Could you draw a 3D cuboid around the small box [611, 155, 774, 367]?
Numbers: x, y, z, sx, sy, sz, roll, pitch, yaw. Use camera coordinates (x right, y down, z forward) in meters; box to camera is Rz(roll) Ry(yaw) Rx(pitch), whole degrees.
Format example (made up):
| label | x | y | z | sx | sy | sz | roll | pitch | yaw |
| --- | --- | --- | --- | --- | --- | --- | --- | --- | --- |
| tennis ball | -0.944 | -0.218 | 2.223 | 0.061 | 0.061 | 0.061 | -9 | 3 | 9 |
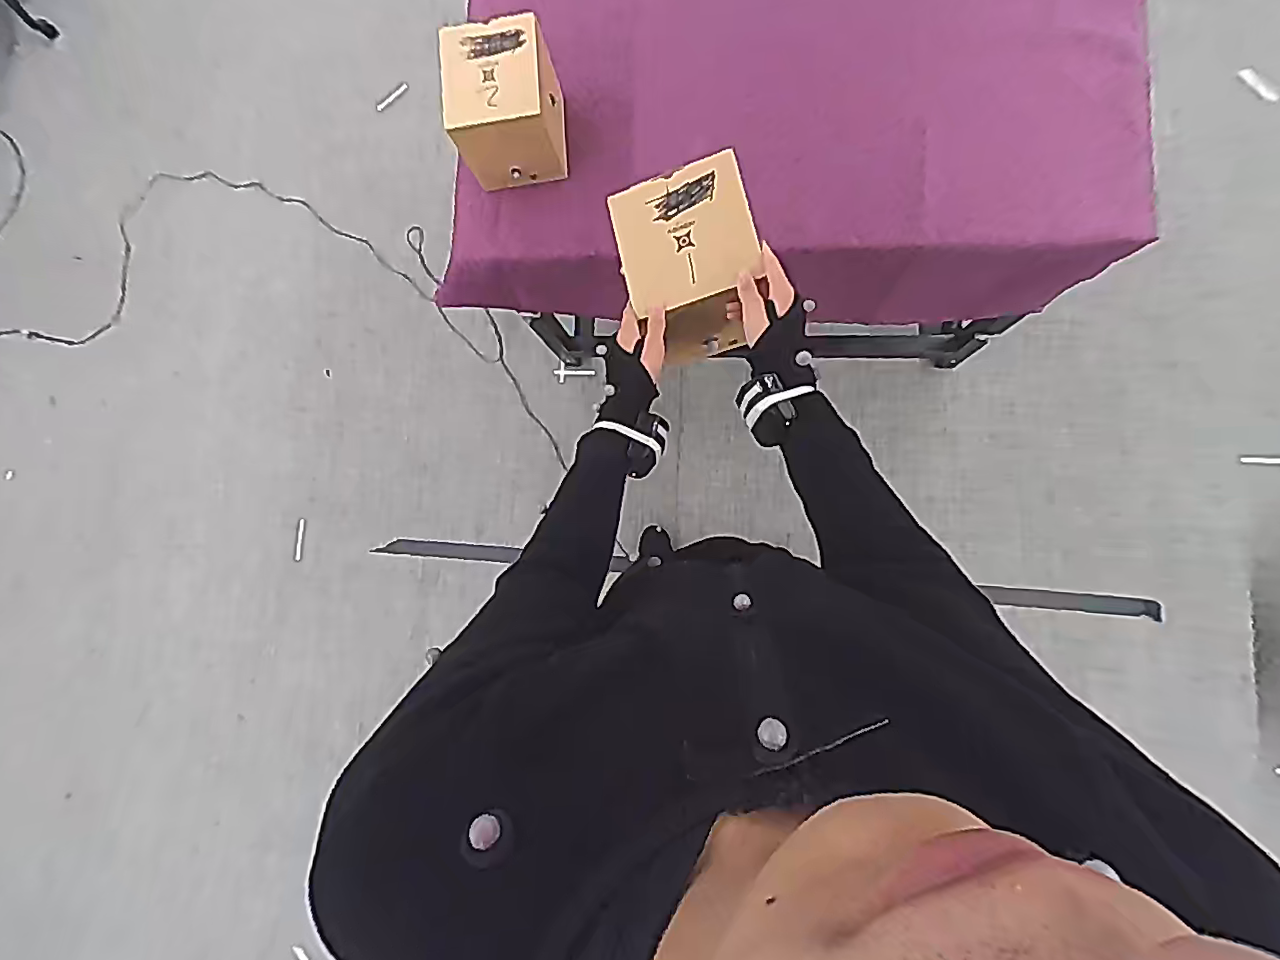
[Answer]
| label | x | y | z | sx | sy | sz | roll | pitch | yaw |
| --- | --- | --- | --- | --- | --- | --- | --- | --- | --- |
| small box | 0.076 | -0.278 | 0.725 | 0.168 | 0.176 | 0.179 | -15 | 77 | 15 |
